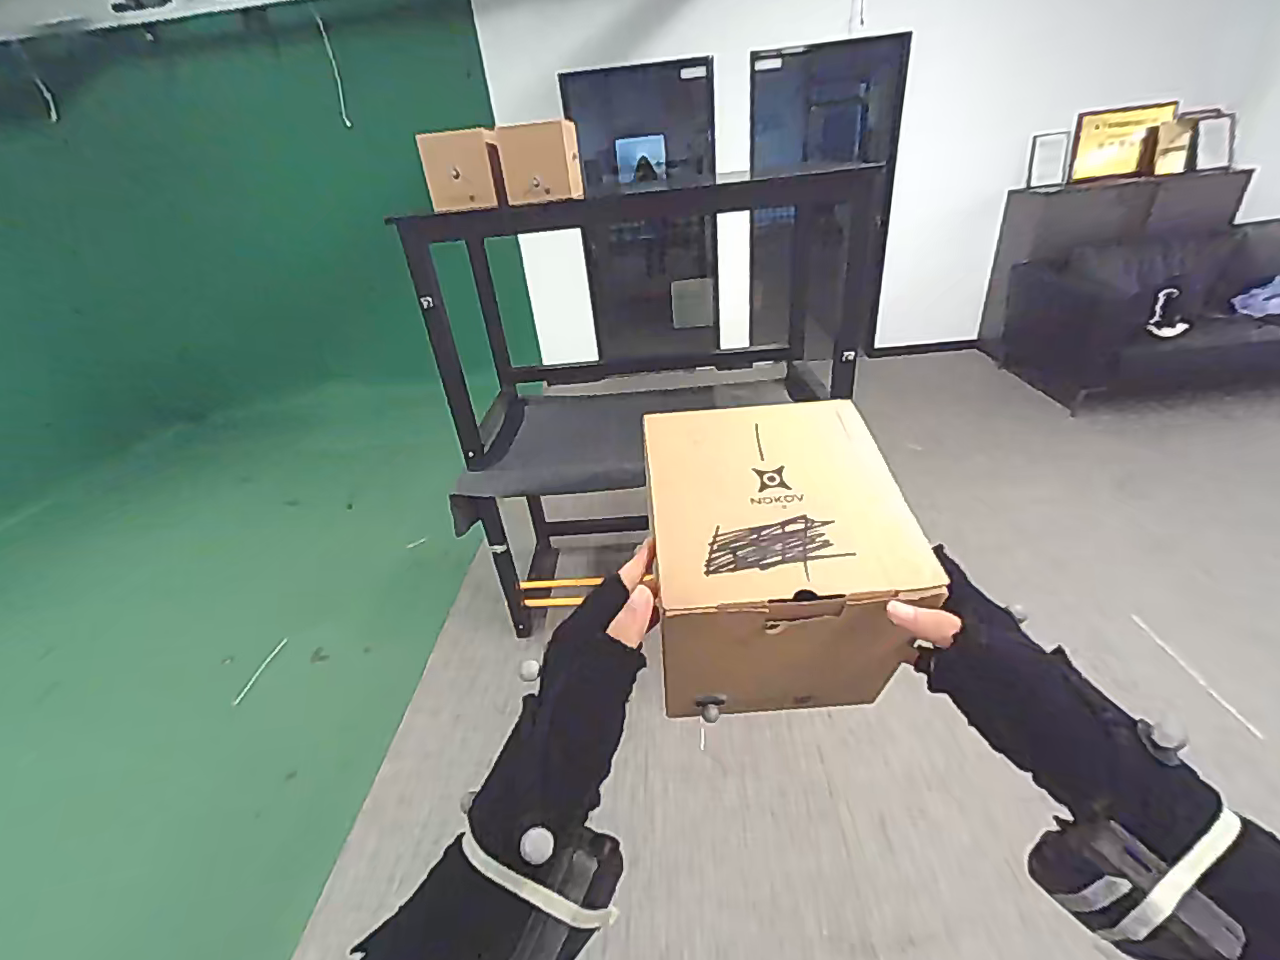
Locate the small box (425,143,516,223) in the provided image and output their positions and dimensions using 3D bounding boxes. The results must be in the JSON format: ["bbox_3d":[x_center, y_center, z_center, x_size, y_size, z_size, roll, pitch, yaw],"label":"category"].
[{"bbox_3d":[-0.434,-0.777,1.421,0.168,0.176,0.179,-3,29,3],"label":"small box"}]

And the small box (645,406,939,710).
[{"bbox_3d":[0.094,0.066,0.425,0.168,0.176,0.179,-4,45,0],"label":"small box"}]
